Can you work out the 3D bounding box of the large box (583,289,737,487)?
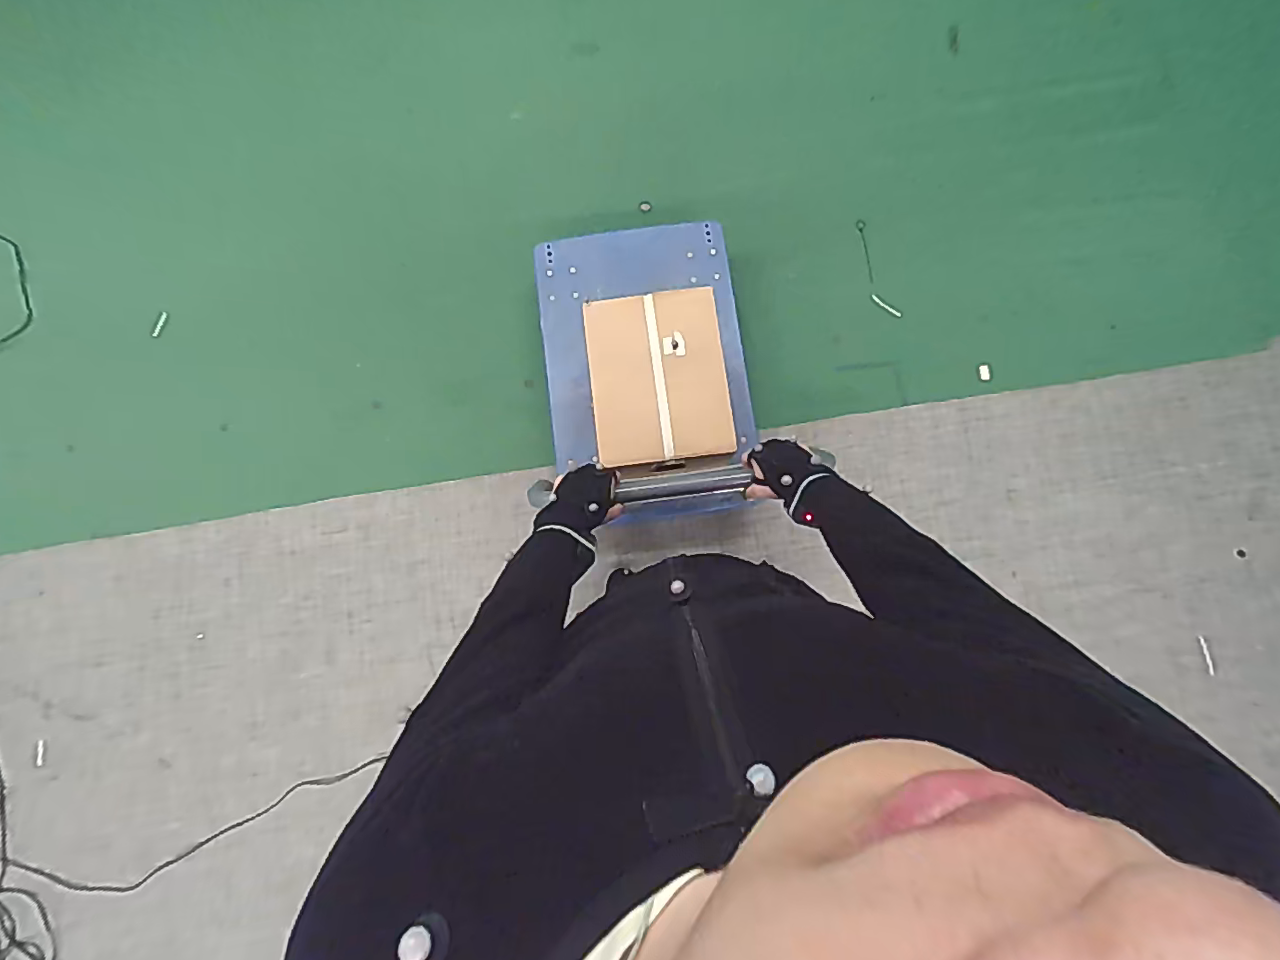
[{"bbox_3d":[0.048,-0.216,1.399,0.320,0.320,0.408,-7,80,0],"label":"large box"}]
